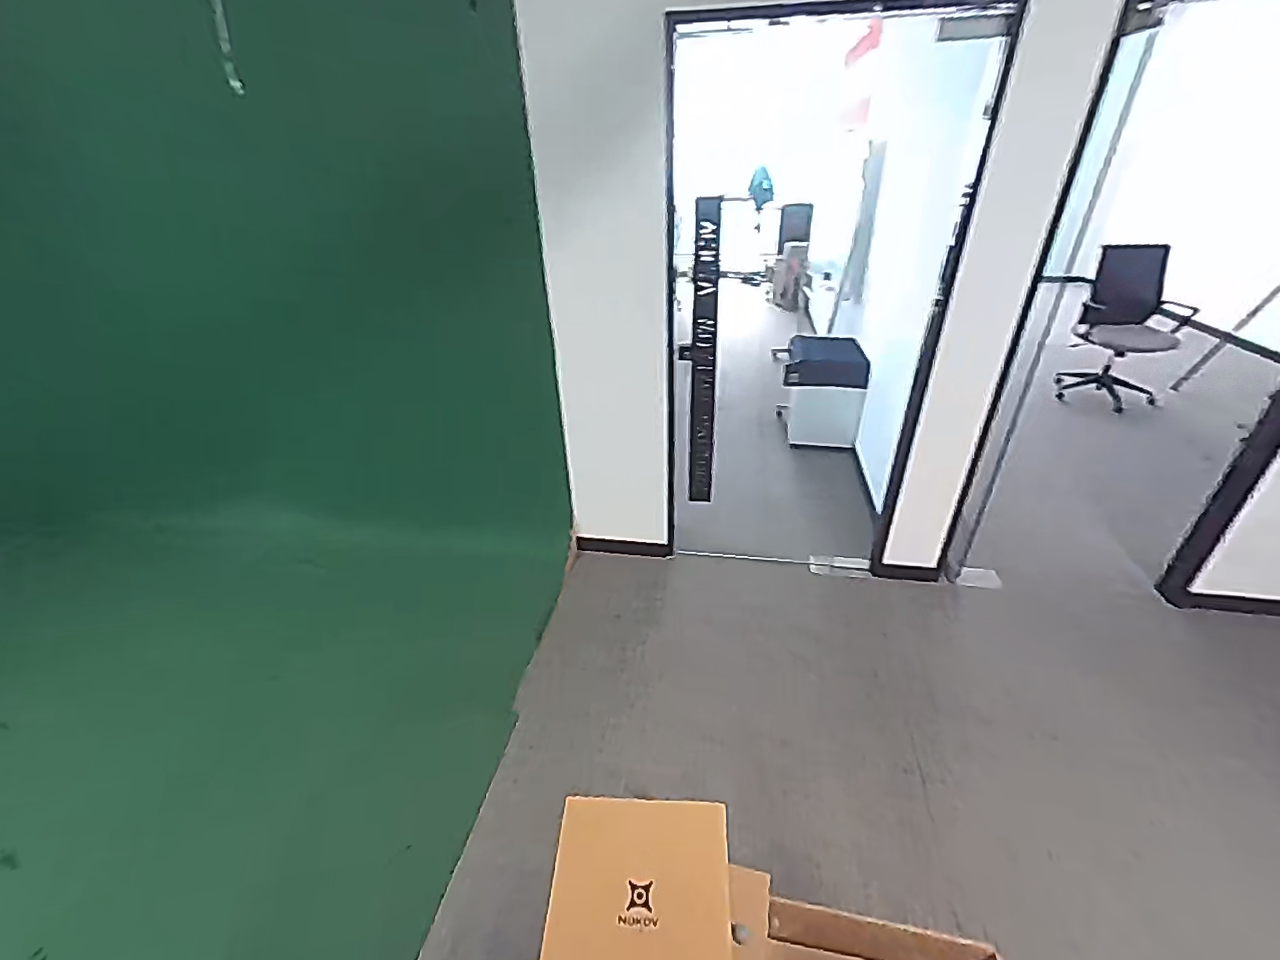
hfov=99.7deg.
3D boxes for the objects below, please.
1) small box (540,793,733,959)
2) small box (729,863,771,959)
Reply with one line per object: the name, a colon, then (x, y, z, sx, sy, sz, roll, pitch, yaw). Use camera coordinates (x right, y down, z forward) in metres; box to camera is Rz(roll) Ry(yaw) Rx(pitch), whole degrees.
small box: (0.001, 0.442, 0.535, 0.168, 0.176, 0.179, 1, 38, 4)
small box: (0.100, 0.705, 0.815, 0.168, 0.176, 0.179, 6, 32, 14)
